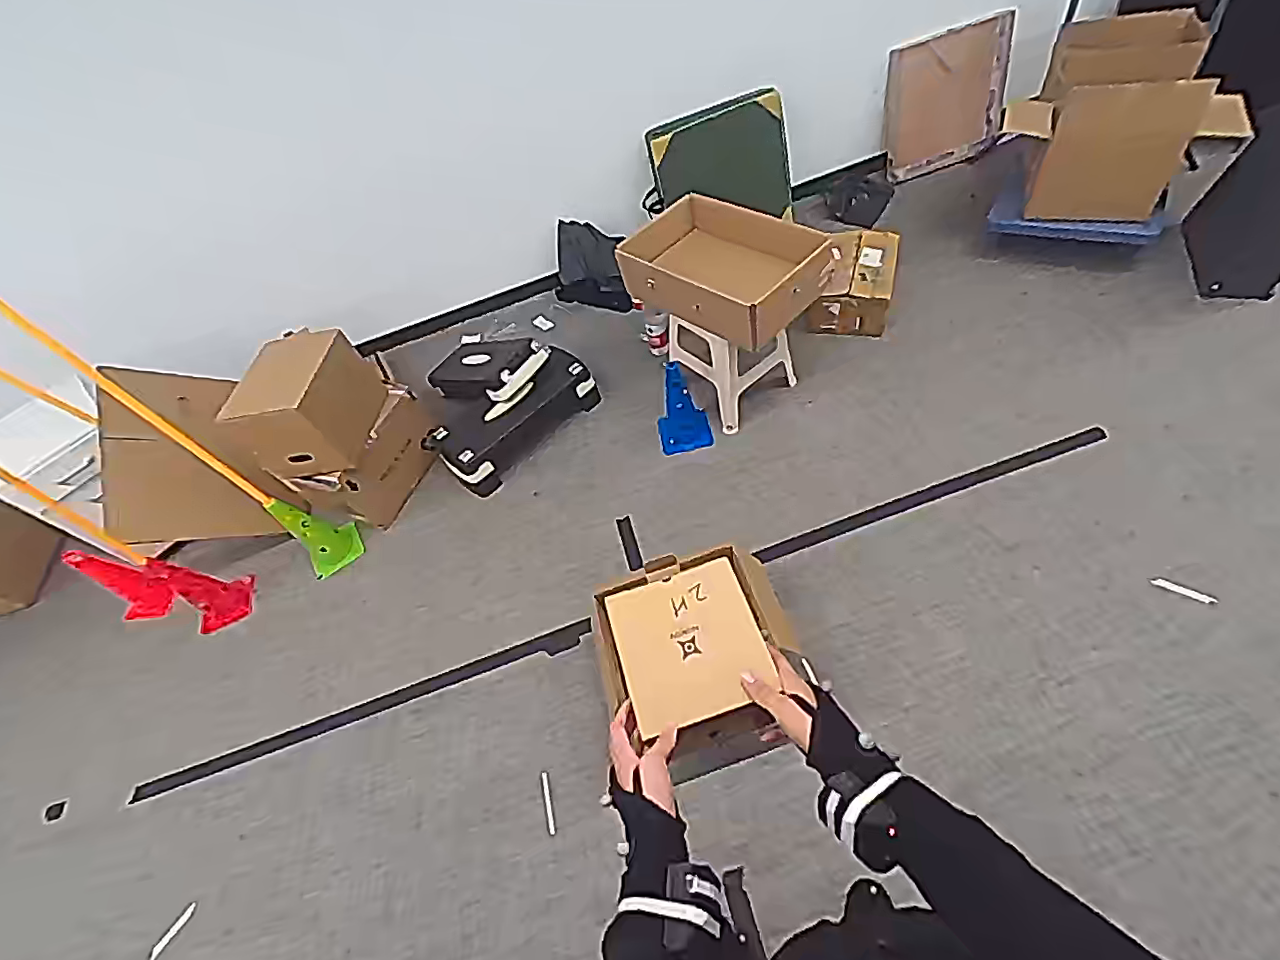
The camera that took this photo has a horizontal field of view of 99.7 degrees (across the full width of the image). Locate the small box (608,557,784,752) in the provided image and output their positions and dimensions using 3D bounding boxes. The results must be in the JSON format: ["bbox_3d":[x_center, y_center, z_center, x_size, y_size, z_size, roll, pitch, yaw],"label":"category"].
[{"bbox_3d":[0.070,0.231,0.692,0.168,0.176,0.179,-17,54,-2],"label":"small box"}]
